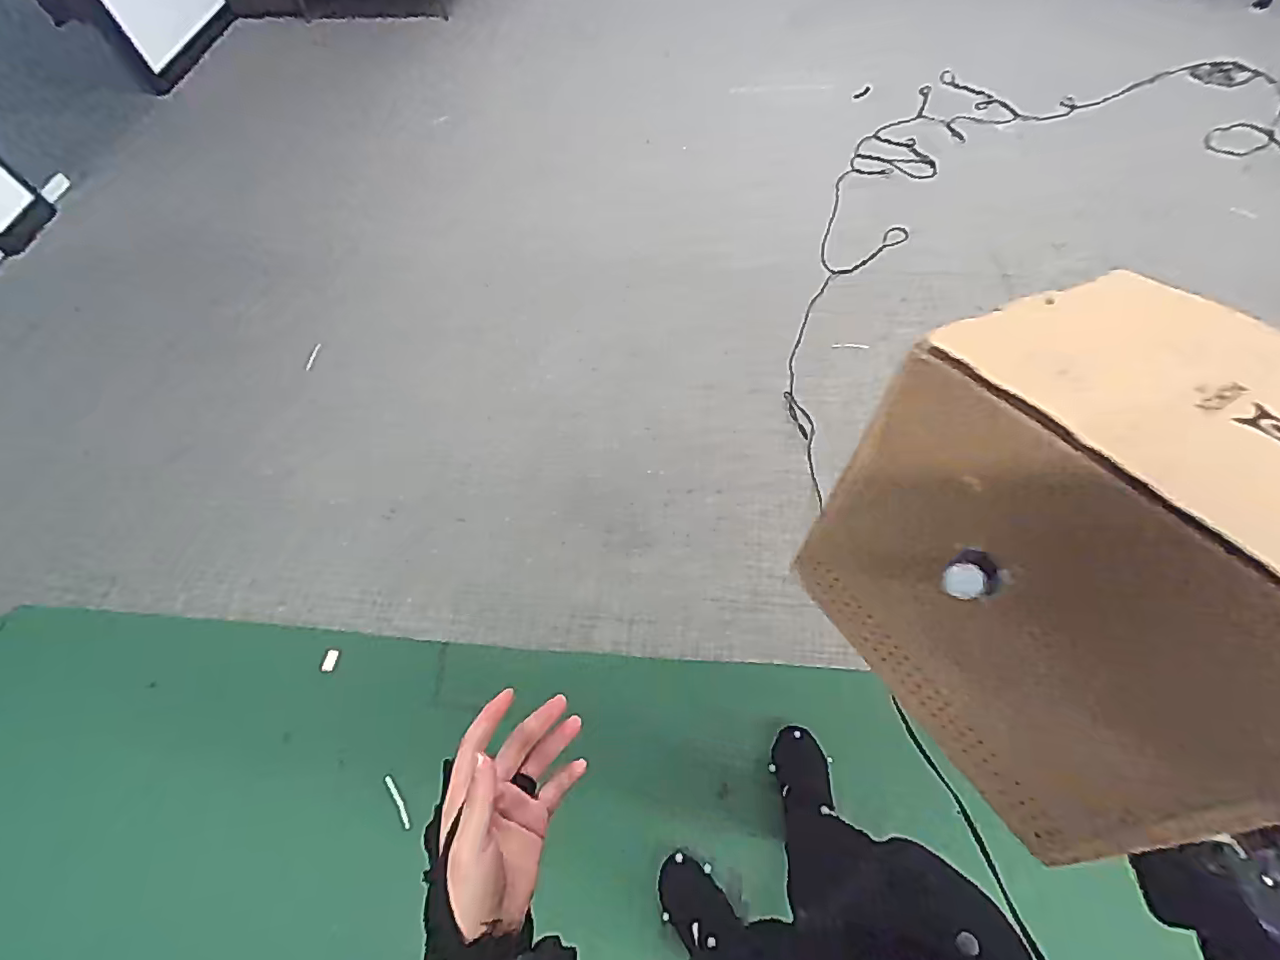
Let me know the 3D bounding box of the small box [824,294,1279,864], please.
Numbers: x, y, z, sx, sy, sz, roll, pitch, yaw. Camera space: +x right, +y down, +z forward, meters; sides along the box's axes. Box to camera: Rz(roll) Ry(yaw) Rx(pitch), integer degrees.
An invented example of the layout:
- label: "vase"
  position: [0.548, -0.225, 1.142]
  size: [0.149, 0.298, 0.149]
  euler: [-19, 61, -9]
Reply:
- label: "small box"
  position: [0.222, 0.039, 0.260]
  size: [0.168, 0.176, 0.179]
  euler: [-21, 53, -24]
